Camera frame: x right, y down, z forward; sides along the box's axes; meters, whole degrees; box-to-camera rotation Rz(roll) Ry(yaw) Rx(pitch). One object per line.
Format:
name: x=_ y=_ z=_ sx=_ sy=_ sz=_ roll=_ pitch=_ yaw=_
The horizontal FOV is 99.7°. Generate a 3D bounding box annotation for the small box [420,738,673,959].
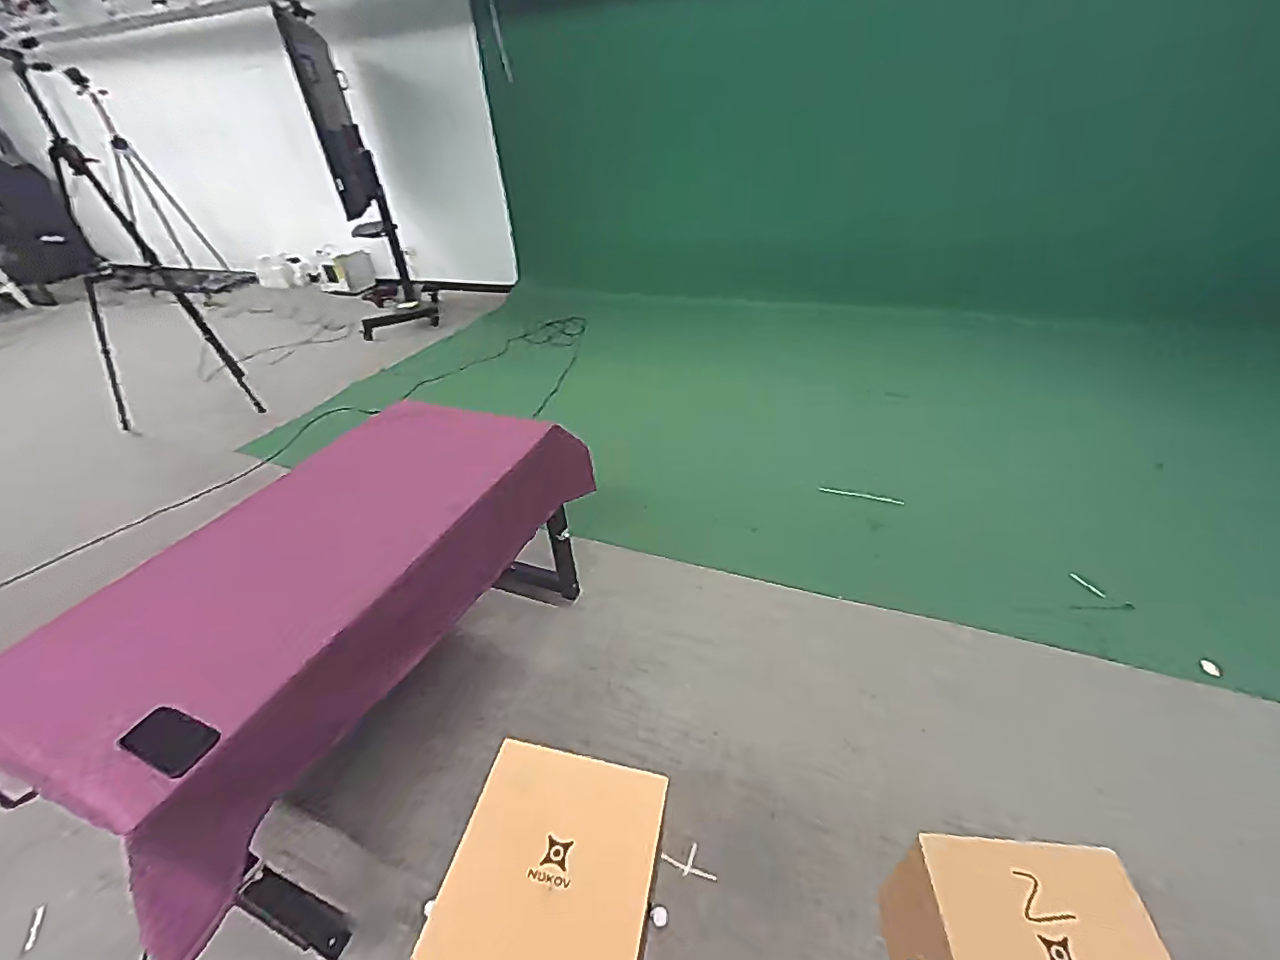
small box: x=-0.070 y=0.378 z=0.497 sx=0.168 sy=0.176 sz=0.179 roll=9 pitch=39 yaw=9
